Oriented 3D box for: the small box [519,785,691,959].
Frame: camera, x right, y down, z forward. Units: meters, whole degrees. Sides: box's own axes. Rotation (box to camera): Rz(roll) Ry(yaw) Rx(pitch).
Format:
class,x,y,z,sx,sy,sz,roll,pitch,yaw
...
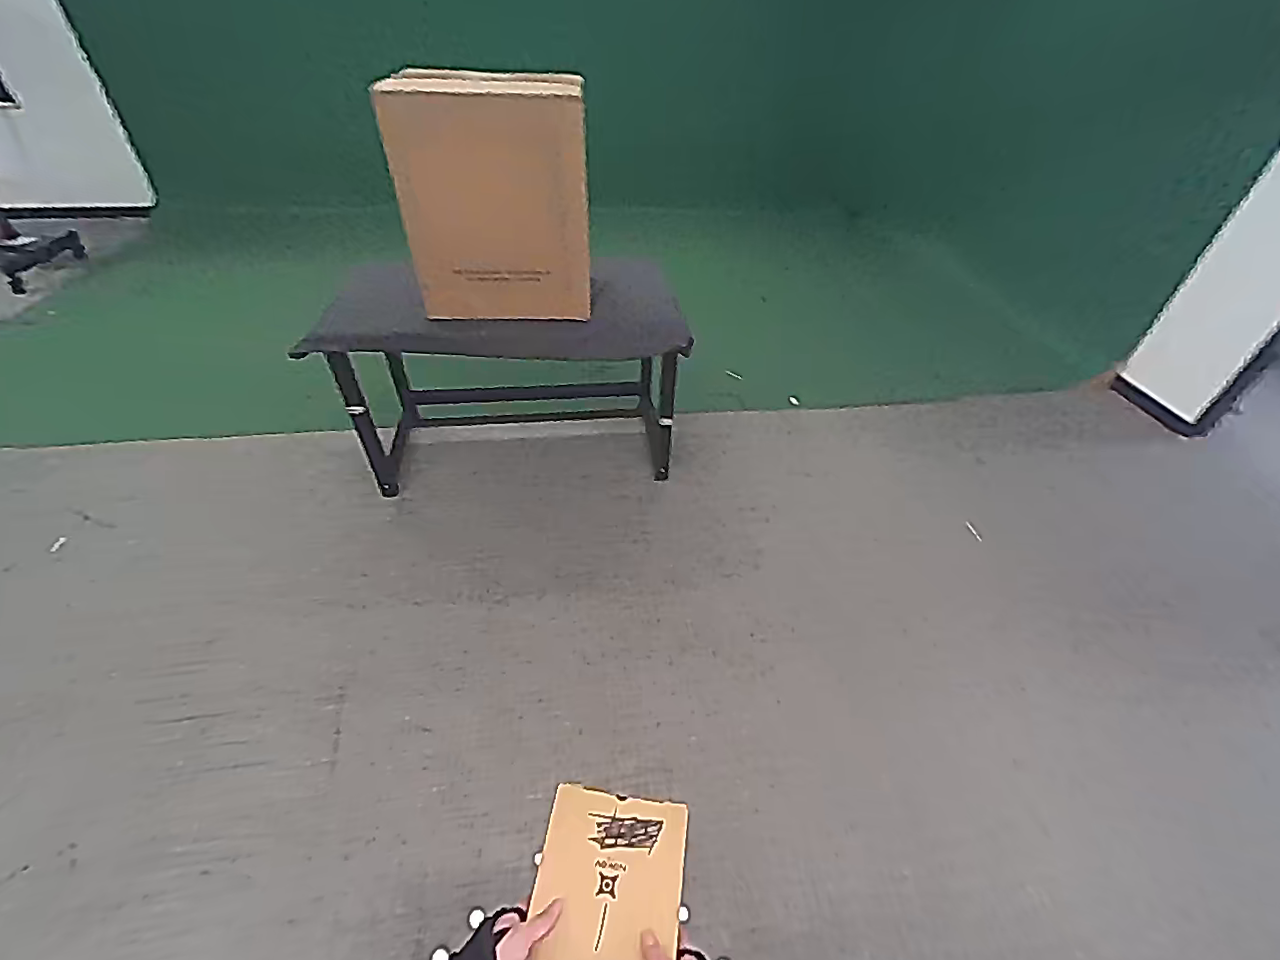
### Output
class,x,y,z,sx,sy,sz,roll,pitch,yaw
small box,-0.037,0.513,0.662,0.168,0.176,0.179,9,41,6
